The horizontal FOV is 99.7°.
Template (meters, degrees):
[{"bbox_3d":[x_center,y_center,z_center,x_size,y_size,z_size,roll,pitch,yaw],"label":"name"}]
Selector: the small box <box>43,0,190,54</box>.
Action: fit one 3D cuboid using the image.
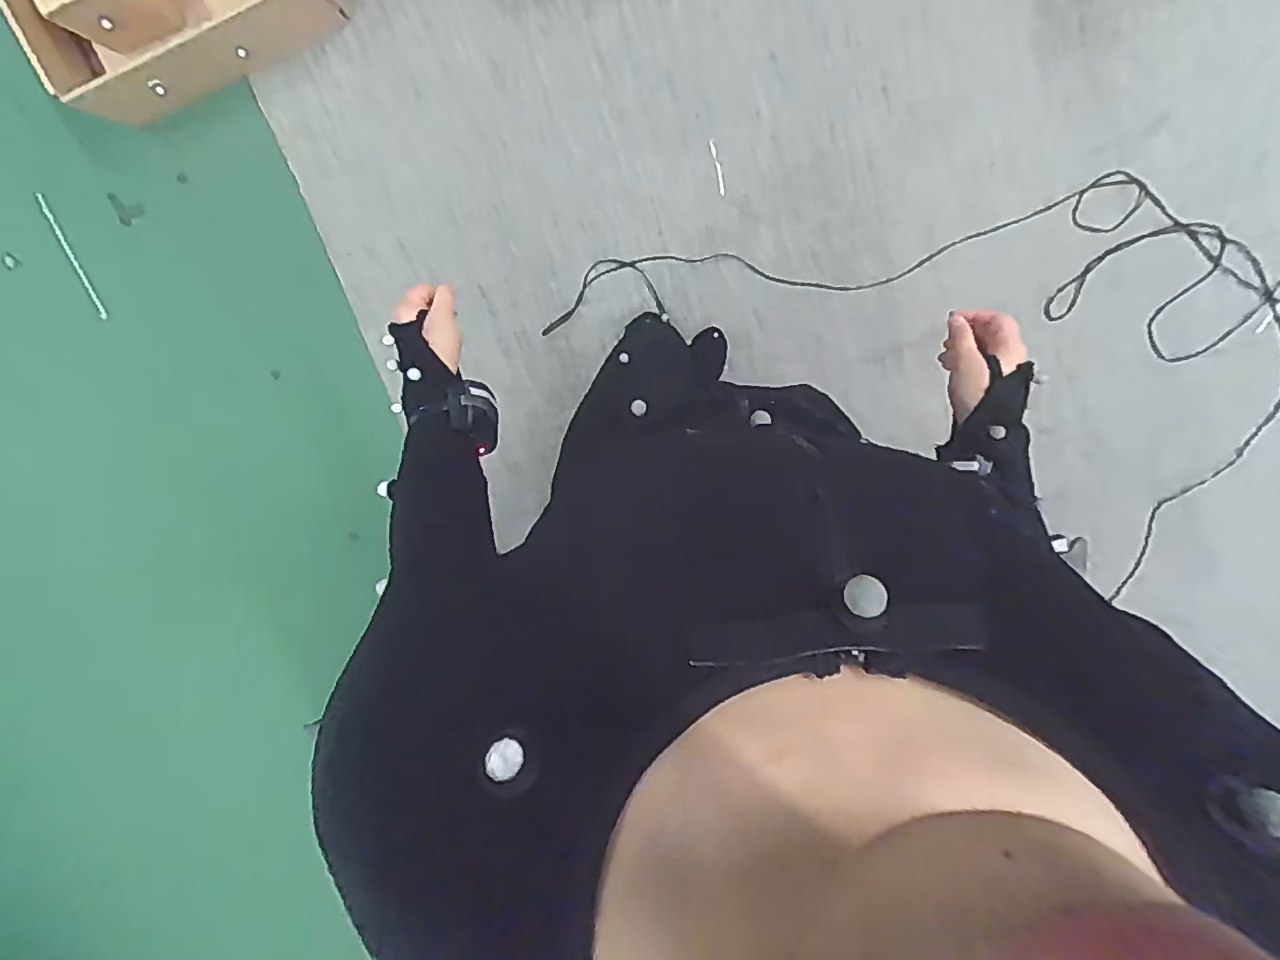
[{"bbox_3d":[-1.110,-1.039,1.126,0.179,0.176,0.168,-17,103,7],"label":"small box"}]
